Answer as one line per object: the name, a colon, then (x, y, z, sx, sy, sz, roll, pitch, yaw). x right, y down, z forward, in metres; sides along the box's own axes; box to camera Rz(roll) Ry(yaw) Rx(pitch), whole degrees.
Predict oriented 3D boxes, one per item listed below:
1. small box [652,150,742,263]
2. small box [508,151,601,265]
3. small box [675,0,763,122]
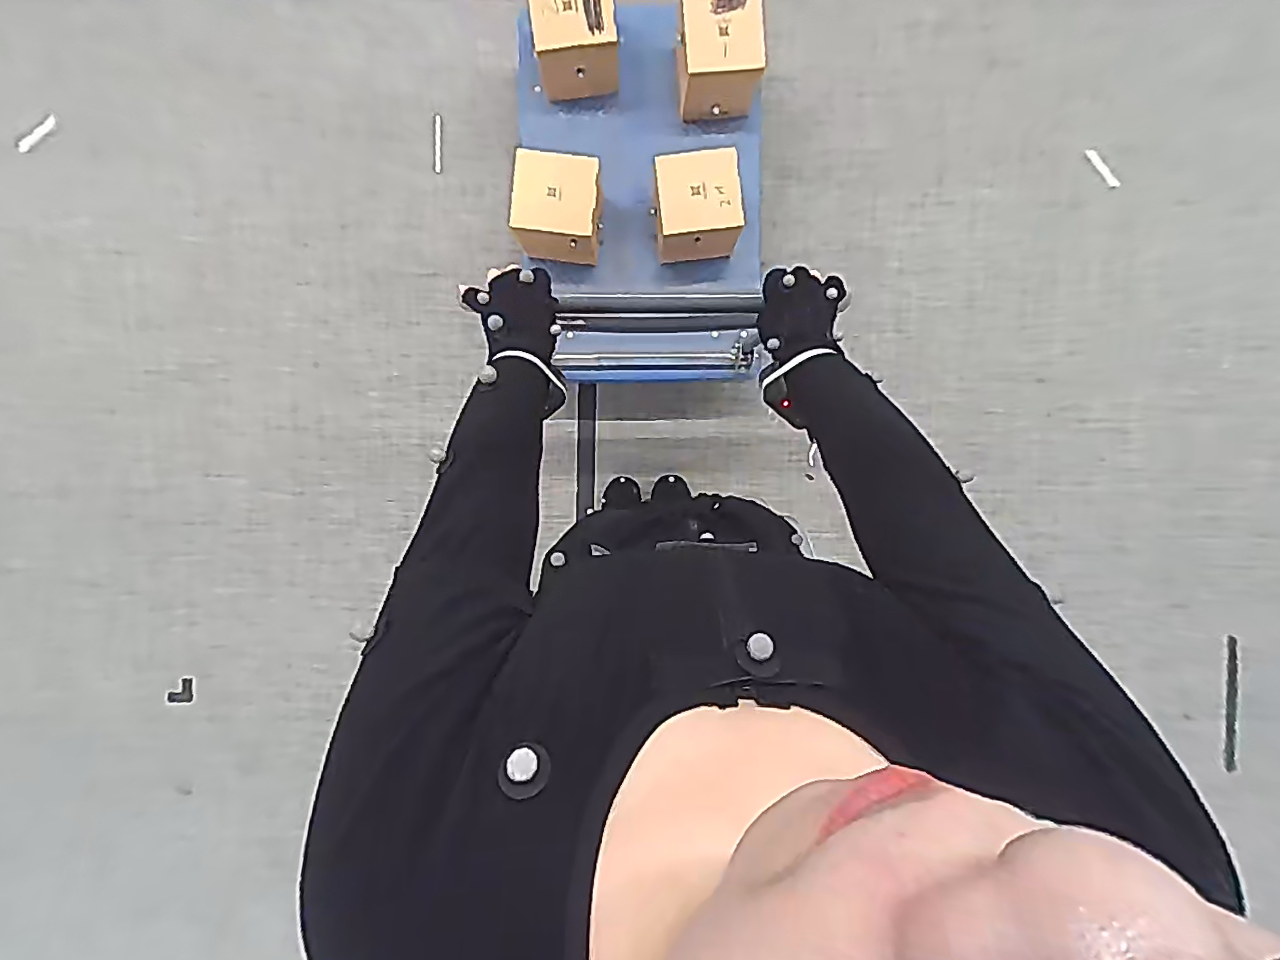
small box: (0.120, -0.601, 1.208, 0.179, 0.176, 0.168, -6, 92, 0)
small box: (-0.184, -0.597, 1.207, 0.179, 0.176, 0.168, 6, 92, -2)
small box: (0.169, -0.935, 1.196, 0.168, 0.176, 0.179, -5, 93, 0)
